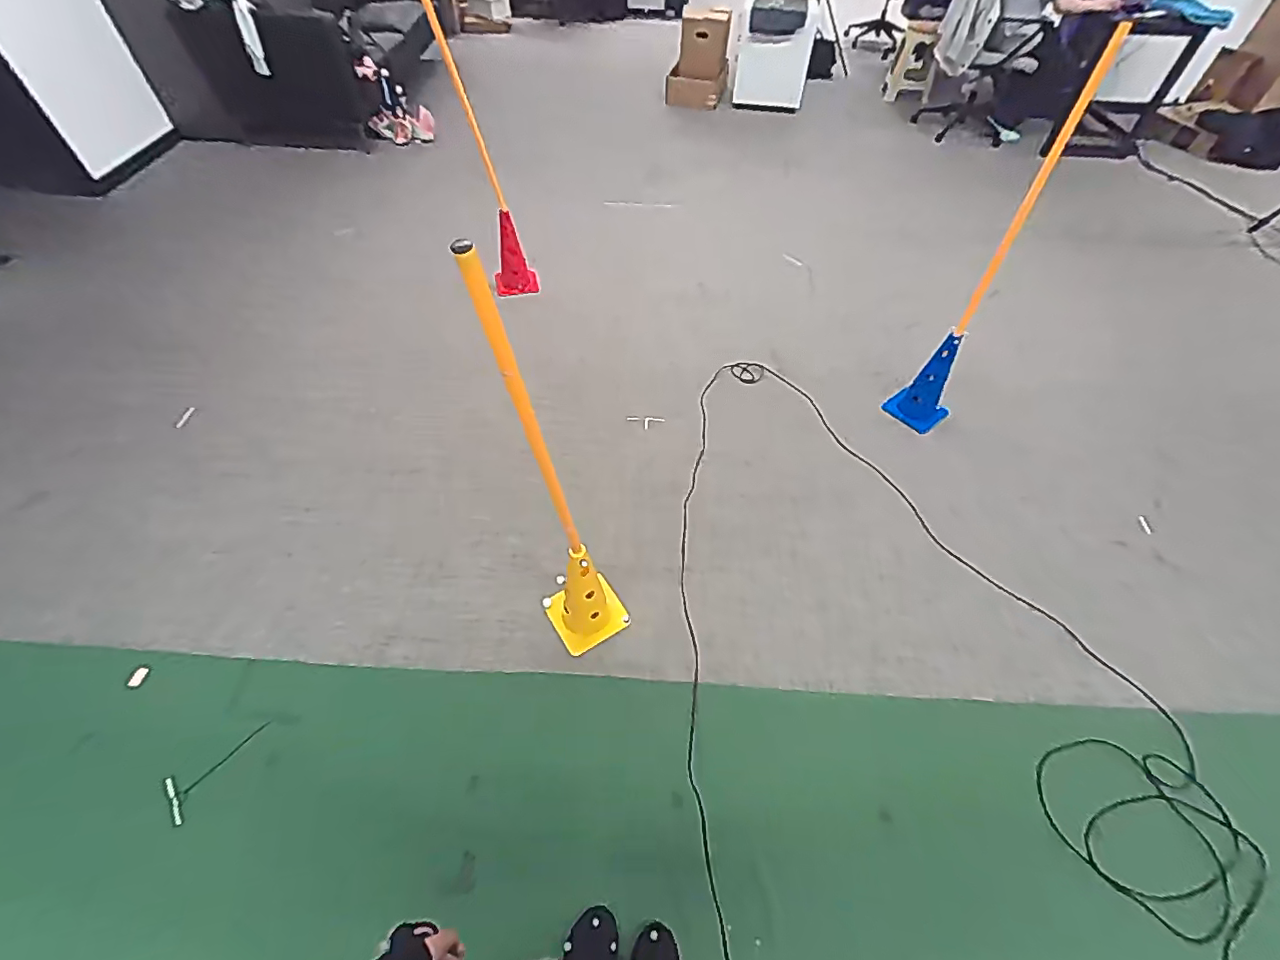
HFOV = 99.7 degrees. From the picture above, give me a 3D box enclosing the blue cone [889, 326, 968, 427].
[{"bbox_3d":[1.092,-0.400,1.990,0.193,0.380,0.192,-34,59,-26],"label":"blue cone"}]
